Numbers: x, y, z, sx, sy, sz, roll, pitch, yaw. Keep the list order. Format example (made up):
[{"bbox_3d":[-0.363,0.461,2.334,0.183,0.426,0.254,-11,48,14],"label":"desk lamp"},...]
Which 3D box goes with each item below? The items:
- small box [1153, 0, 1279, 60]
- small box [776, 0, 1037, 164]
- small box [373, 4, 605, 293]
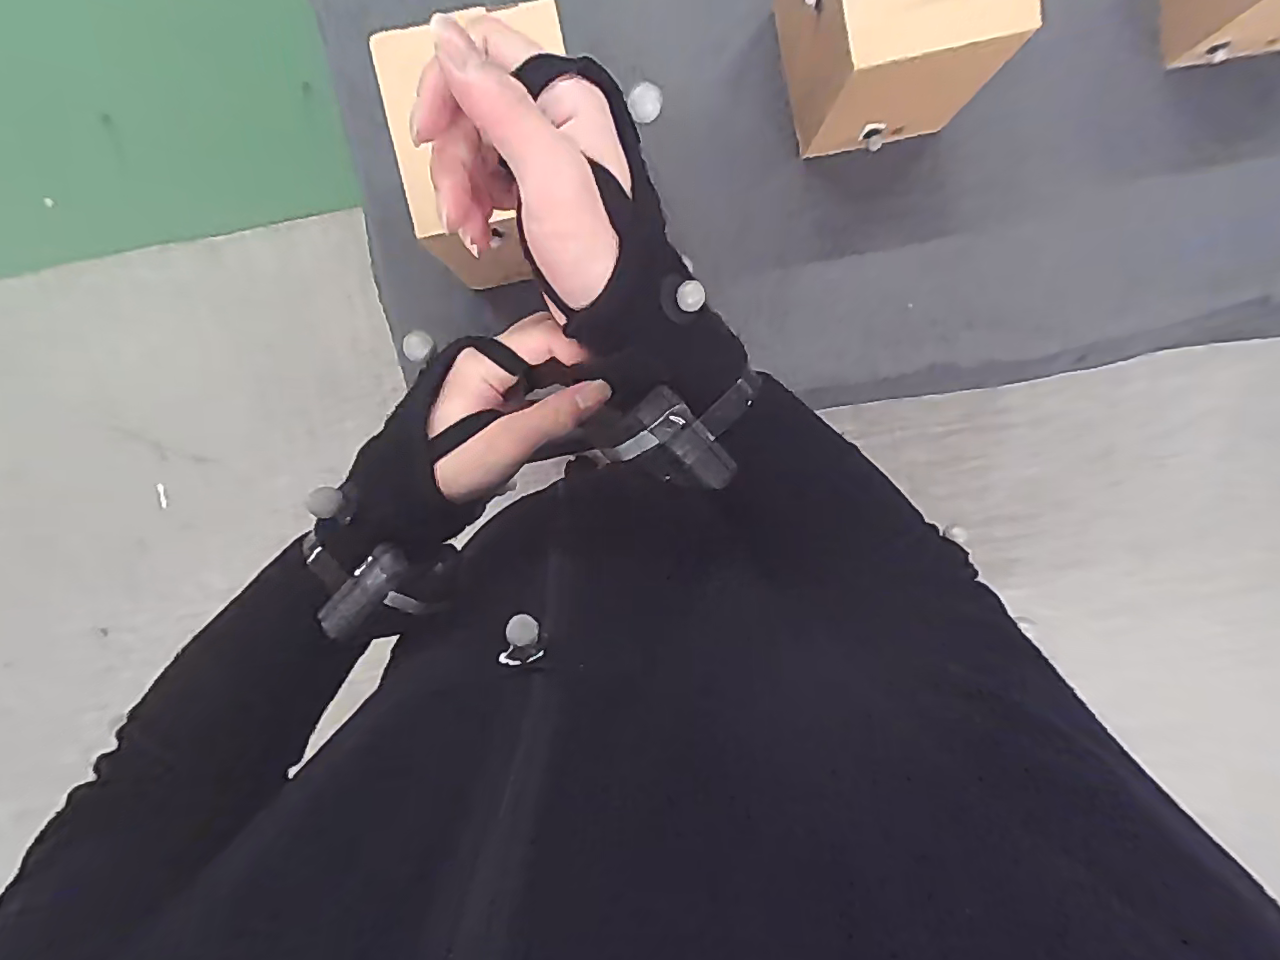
[{"bbox_3d":[0.656,-0.554,0.528,0.168,0.176,0.179,-9,95,1],"label":"small box"},{"bbox_3d":[0.246,-0.458,0.540,0.168,0.176,0.179,-12,96,2],"label":"small box"},{"bbox_3d":[-0.135,-0.313,0.549,0.168,0.176,0.179,-12,94,1],"label":"small box"}]
